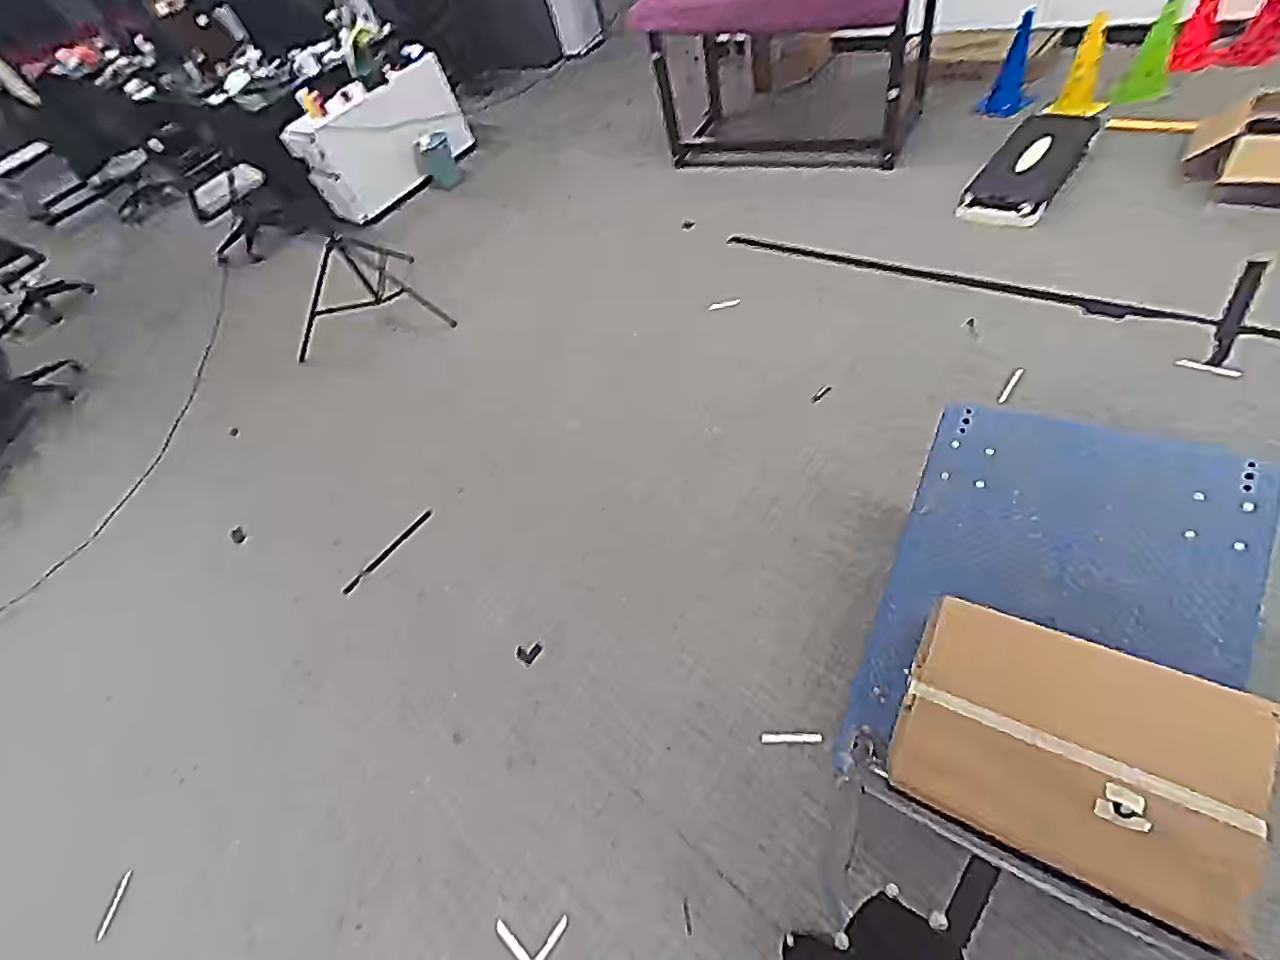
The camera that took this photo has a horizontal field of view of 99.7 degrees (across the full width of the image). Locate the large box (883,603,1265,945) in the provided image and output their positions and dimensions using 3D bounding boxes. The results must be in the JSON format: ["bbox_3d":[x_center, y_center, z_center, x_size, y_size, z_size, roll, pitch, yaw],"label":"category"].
[{"bbox_3d":[0.666,0.441,0.915,0.408,0.320,0.320,18,79,27],"label":"large box"}]
